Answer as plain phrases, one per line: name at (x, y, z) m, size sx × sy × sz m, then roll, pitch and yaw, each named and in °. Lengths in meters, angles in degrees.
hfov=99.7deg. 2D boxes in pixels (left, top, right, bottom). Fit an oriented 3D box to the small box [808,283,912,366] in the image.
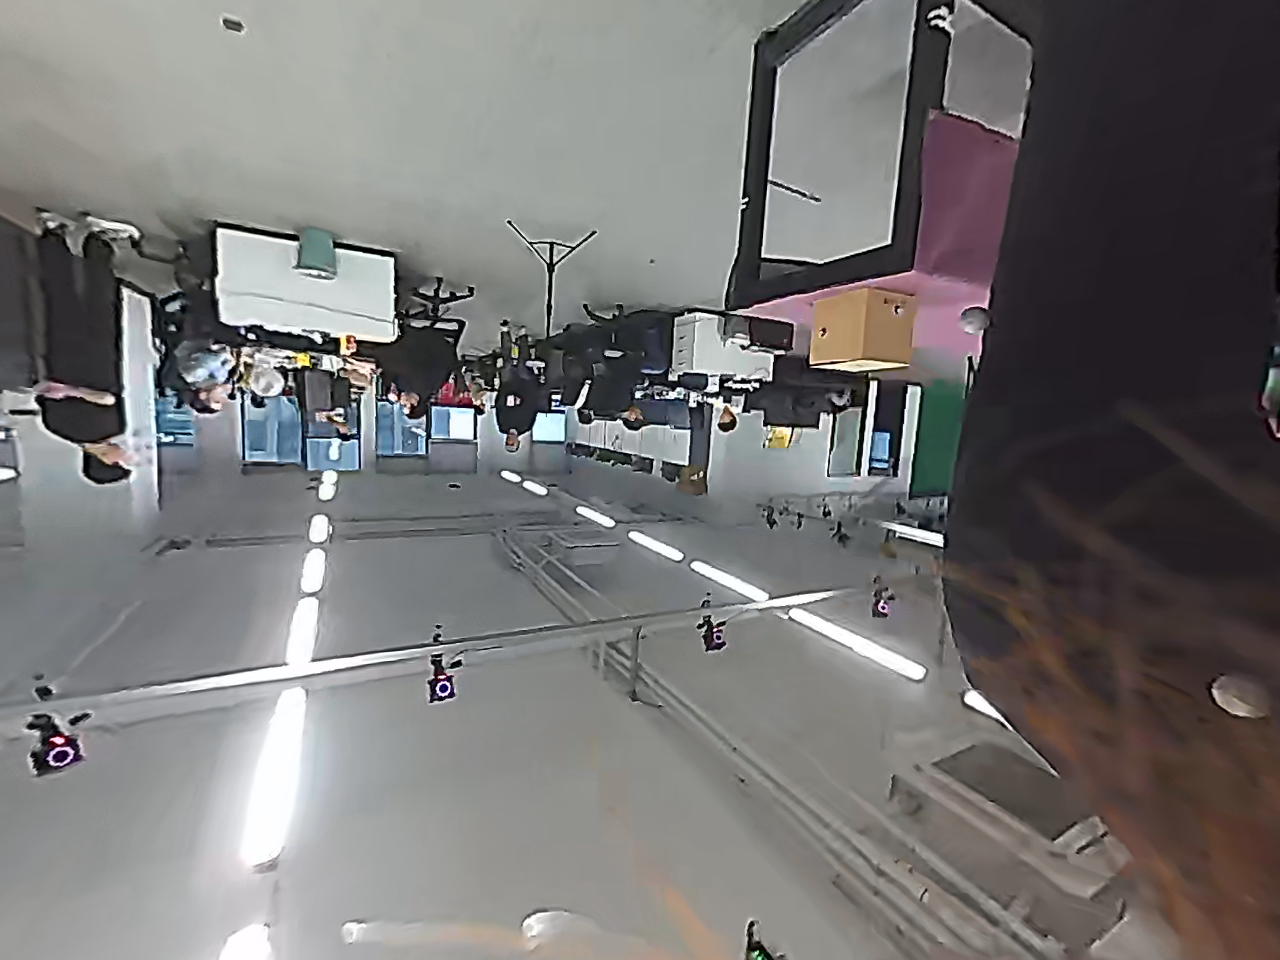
small box at (0.547, -0.381, 1.346) m, size 0.168 × 0.176 × 0.179 m, roll -1°, pitch -171°, yaw -25°
